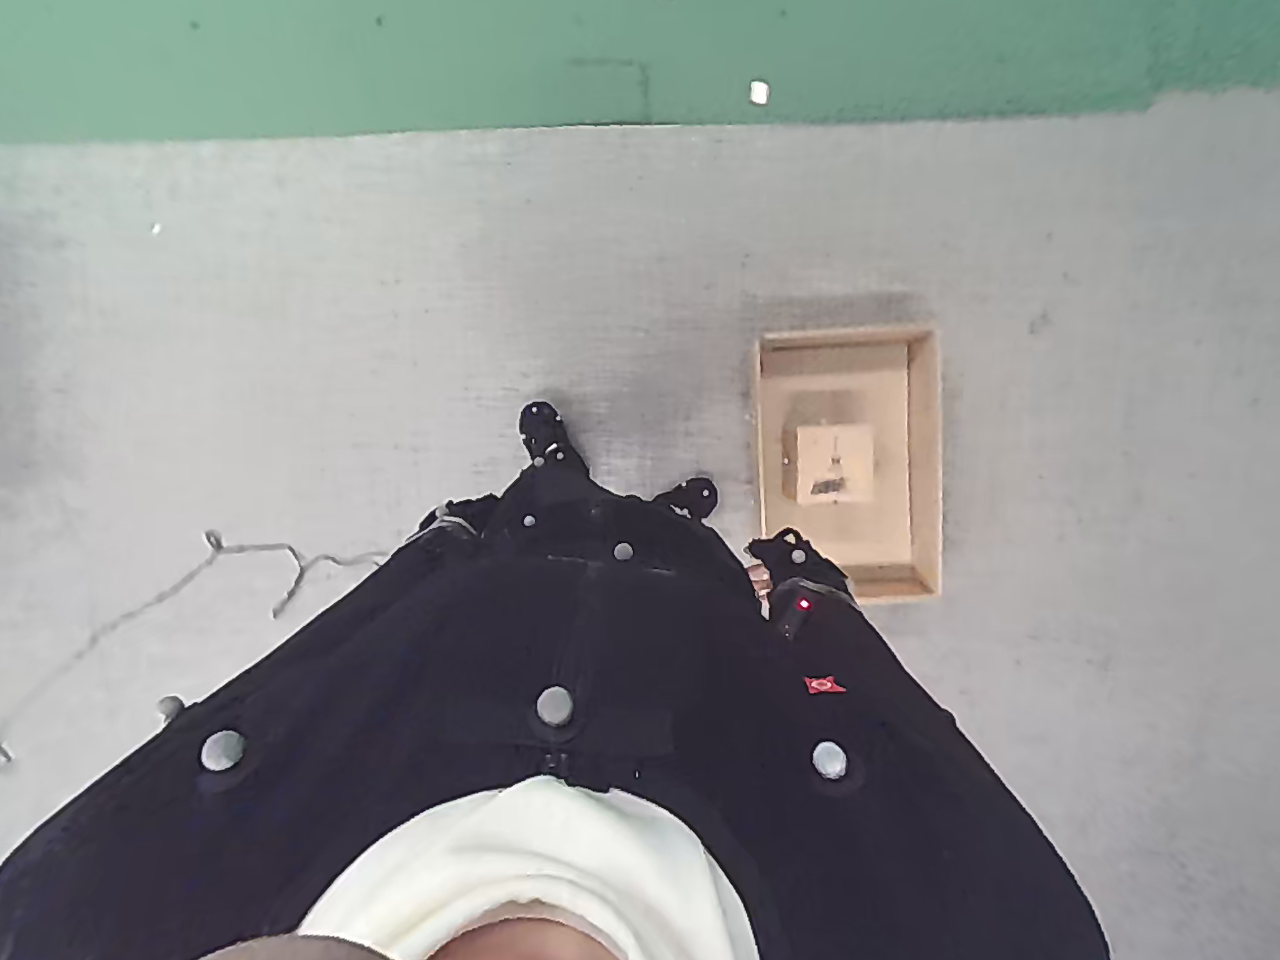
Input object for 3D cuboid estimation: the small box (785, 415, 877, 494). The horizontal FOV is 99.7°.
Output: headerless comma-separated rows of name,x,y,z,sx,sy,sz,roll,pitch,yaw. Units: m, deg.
small box,0.442,-0.063,1.271,0.168,0.176,0.179,-1,94,4
